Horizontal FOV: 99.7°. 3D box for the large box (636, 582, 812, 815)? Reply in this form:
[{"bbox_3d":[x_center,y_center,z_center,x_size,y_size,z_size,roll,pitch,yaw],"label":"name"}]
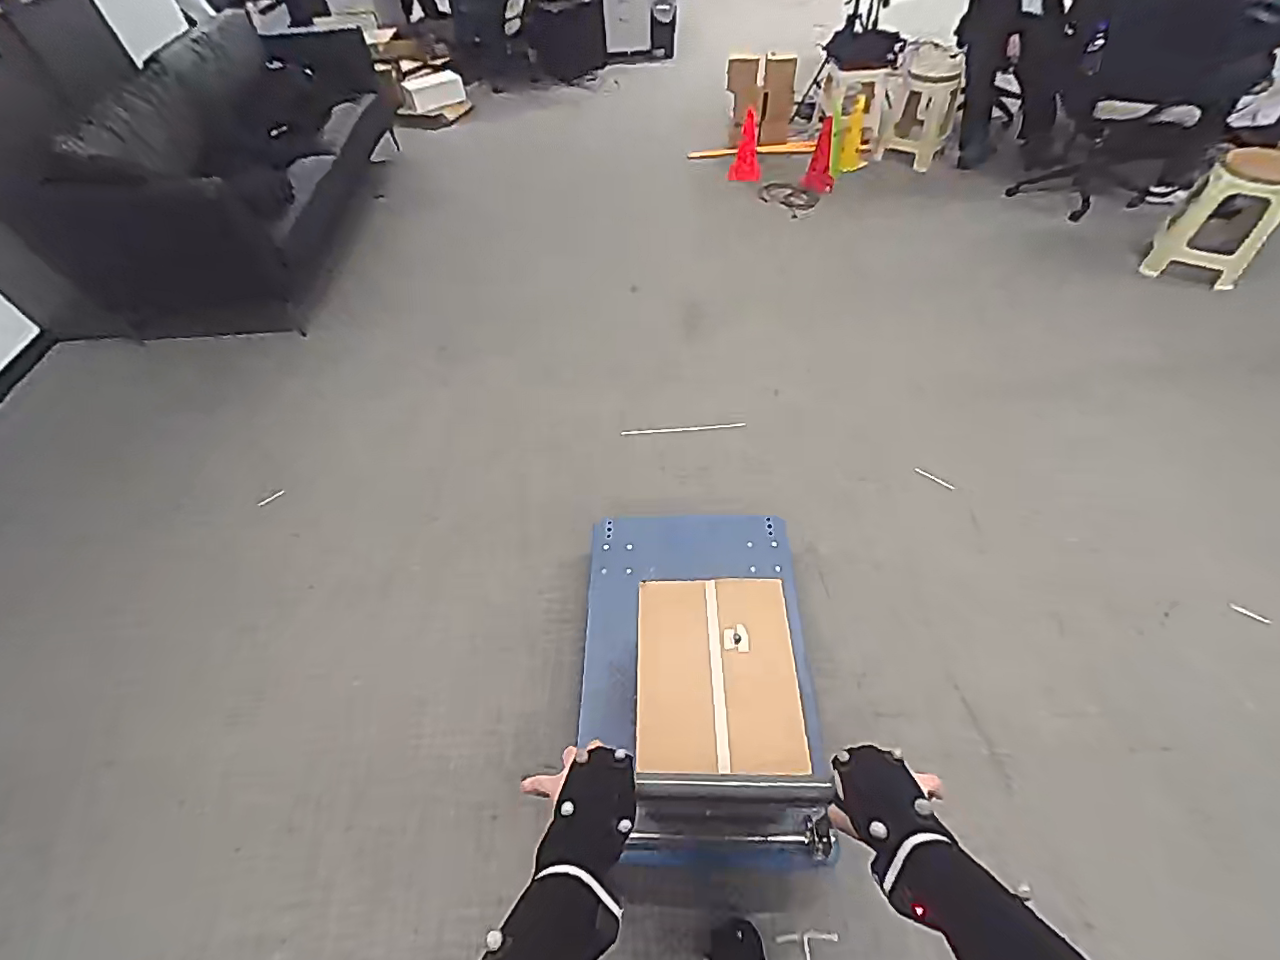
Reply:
[{"bbox_3d":[0.159,0.480,1.189,0.320,0.320,0.408,-2,51,2],"label":"large box"}]
